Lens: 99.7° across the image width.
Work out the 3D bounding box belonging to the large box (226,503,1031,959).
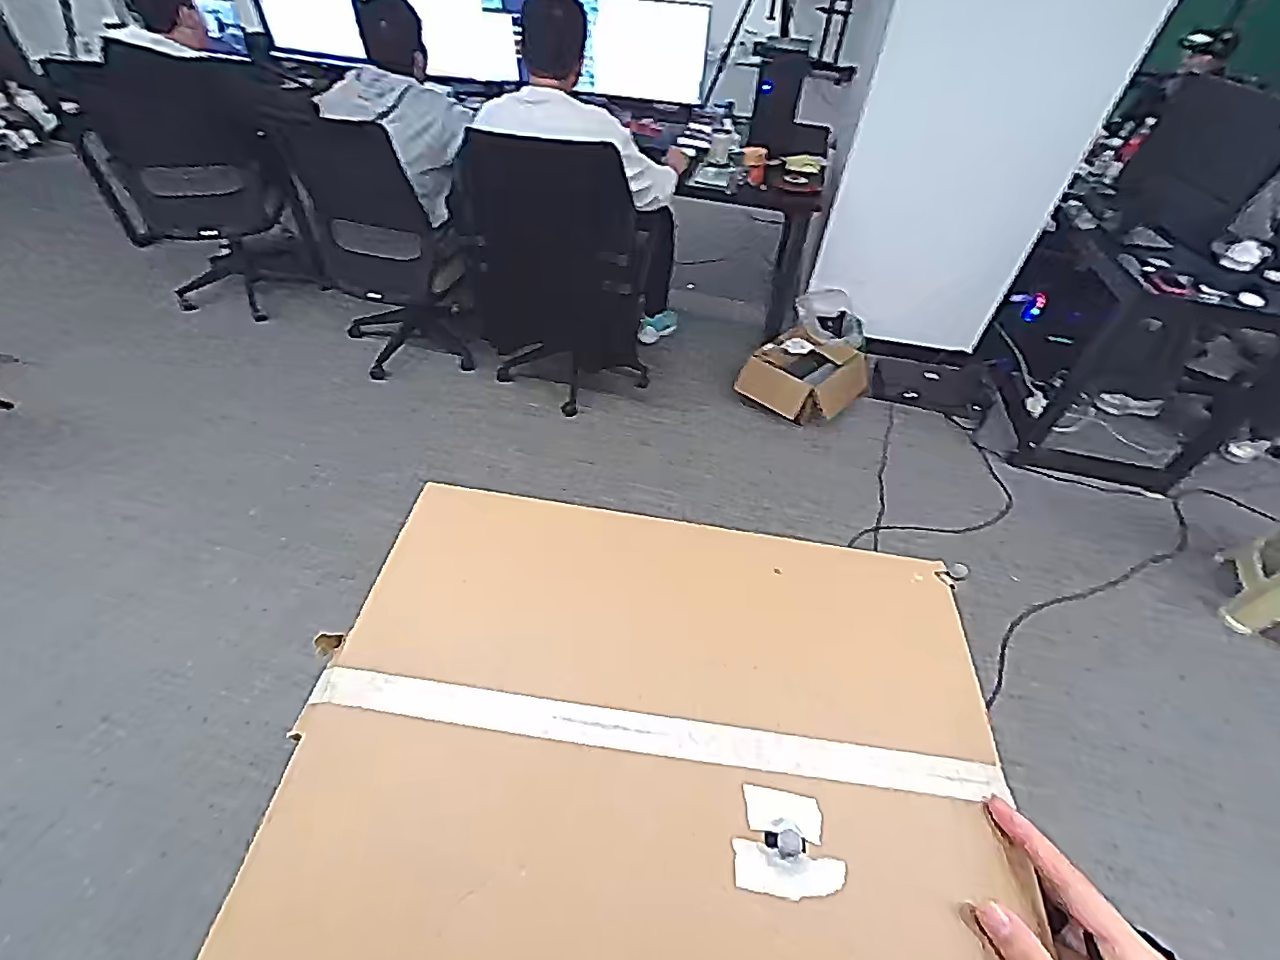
[{"bbox_3d":[-0.001,0.254,0.443,0.408,0.320,0.320,9,51,-1],"label":"large box"}]
